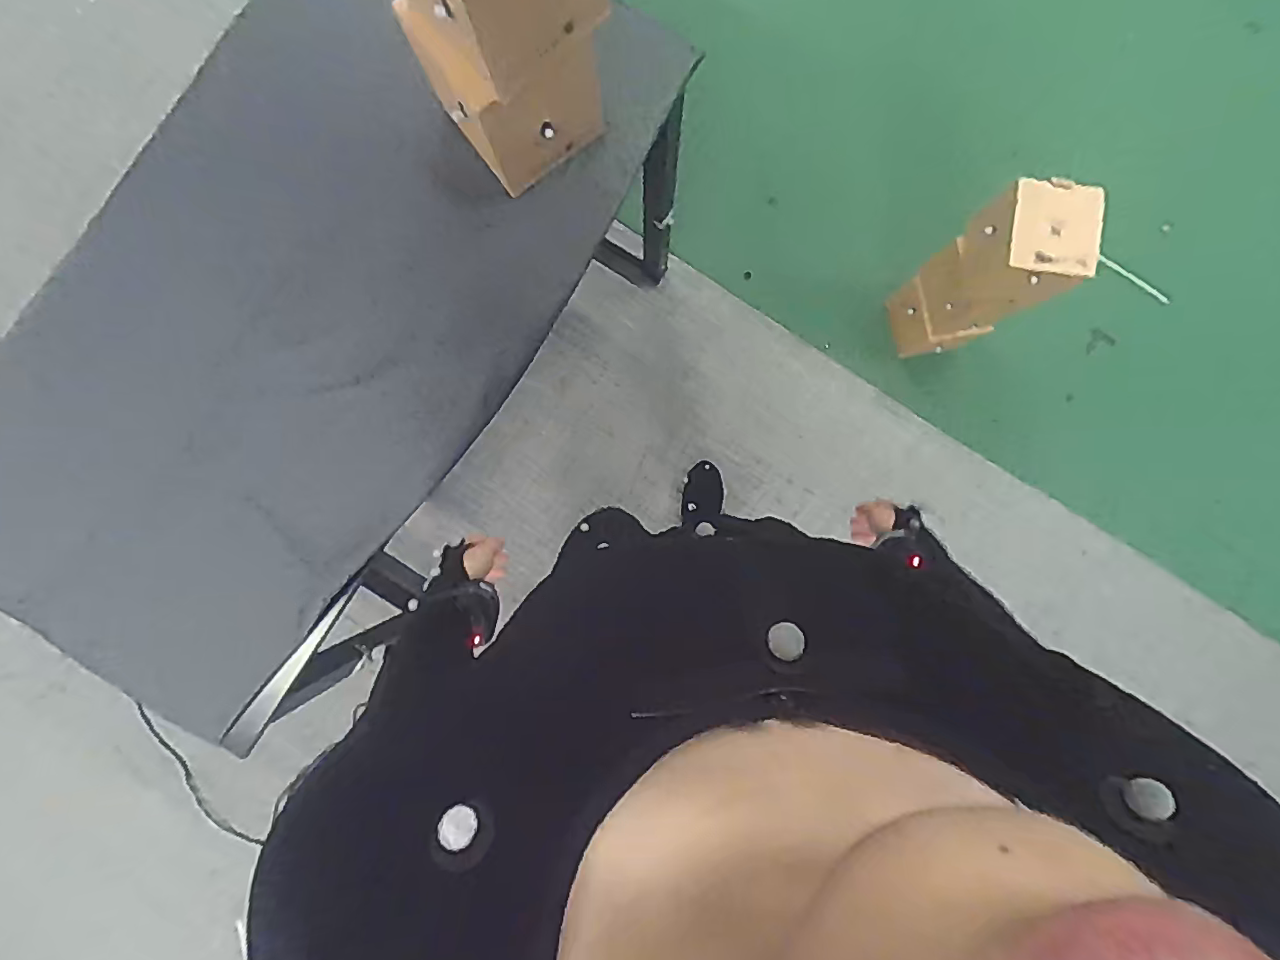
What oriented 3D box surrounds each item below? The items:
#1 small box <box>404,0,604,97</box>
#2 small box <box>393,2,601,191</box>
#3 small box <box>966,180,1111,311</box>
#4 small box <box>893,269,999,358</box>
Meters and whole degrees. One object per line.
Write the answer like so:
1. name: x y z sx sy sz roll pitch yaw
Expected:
1. small box: -0.152 -0.531 0.534 0.168 0.176 0.179 -42 85 -2
2. small box: -0.167 -0.512 0.695 0.168 0.176 0.179 -37 85 -1
3. small box: 0.790 -0.464 1.088 0.168 0.176 0.179 8 88 2
4. small box: 0.791 -0.429 1.416 0.168 0.176 0.179 -11 87 1
